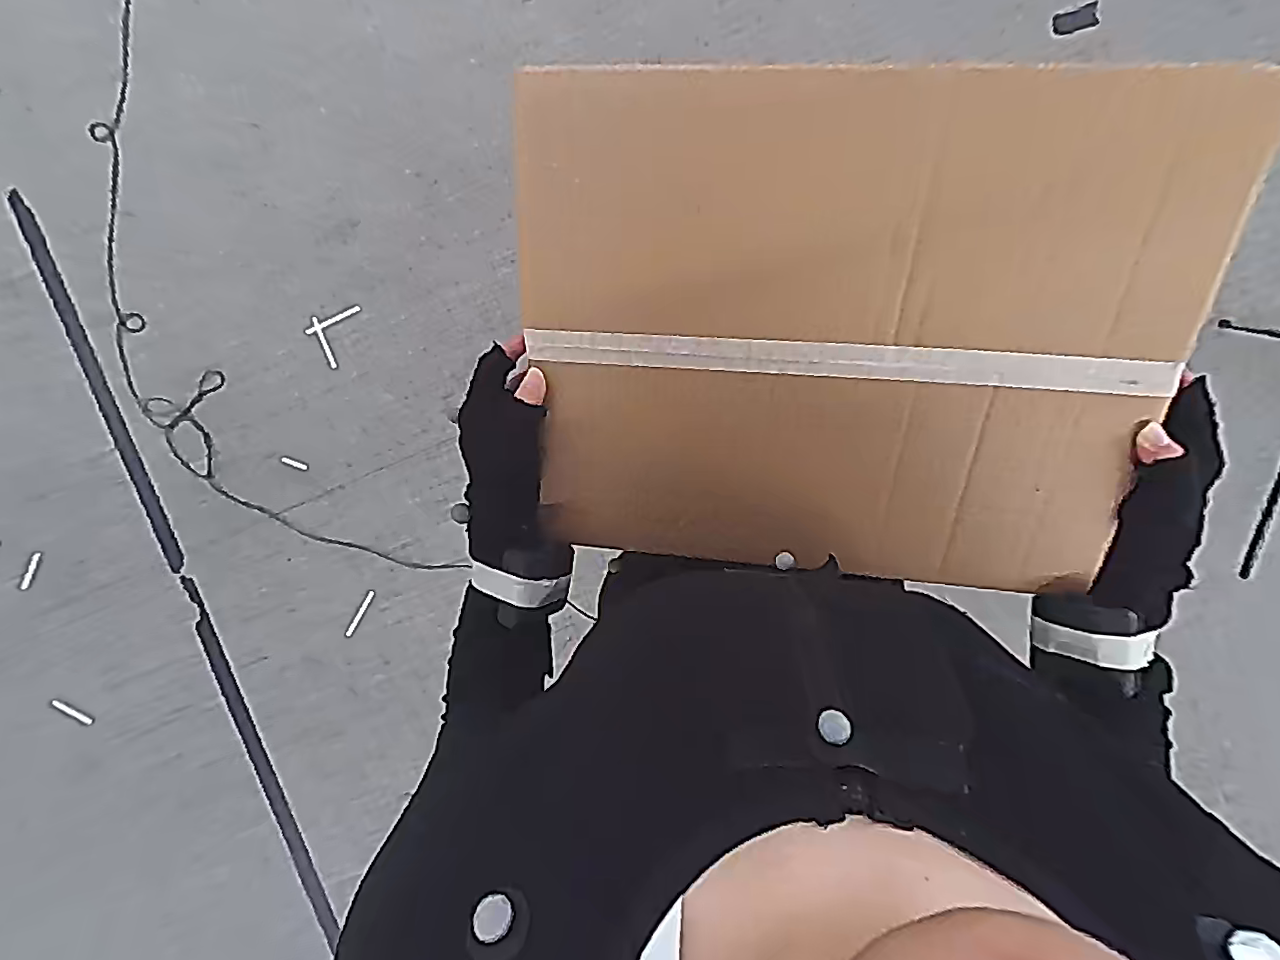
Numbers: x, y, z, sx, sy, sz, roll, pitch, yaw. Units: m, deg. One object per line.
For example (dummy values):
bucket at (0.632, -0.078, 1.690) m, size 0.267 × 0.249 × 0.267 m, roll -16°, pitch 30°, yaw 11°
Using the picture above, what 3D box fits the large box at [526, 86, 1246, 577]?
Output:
large box at (0.141, -0.138, 0.502) m, size 0.408 × 0.320 × 0.320 m, roll 5°, pitch 114°, yaw 6°
